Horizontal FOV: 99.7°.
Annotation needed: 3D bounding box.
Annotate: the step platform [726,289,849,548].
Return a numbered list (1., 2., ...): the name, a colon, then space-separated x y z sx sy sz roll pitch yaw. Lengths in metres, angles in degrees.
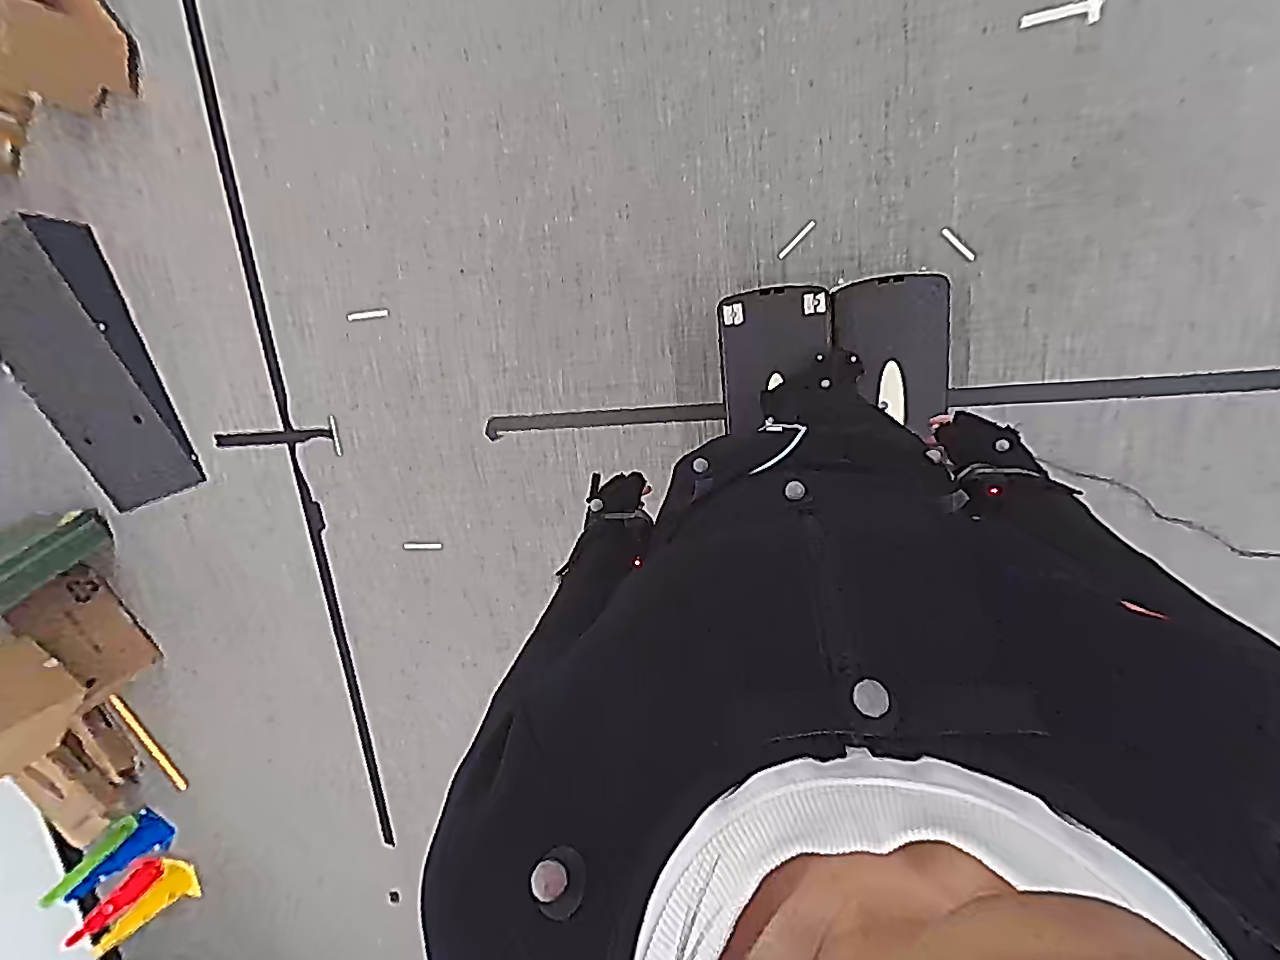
1. step platform: 0.401 -0.157 1.471 0.286 0.204 0.684 -4 101 13
